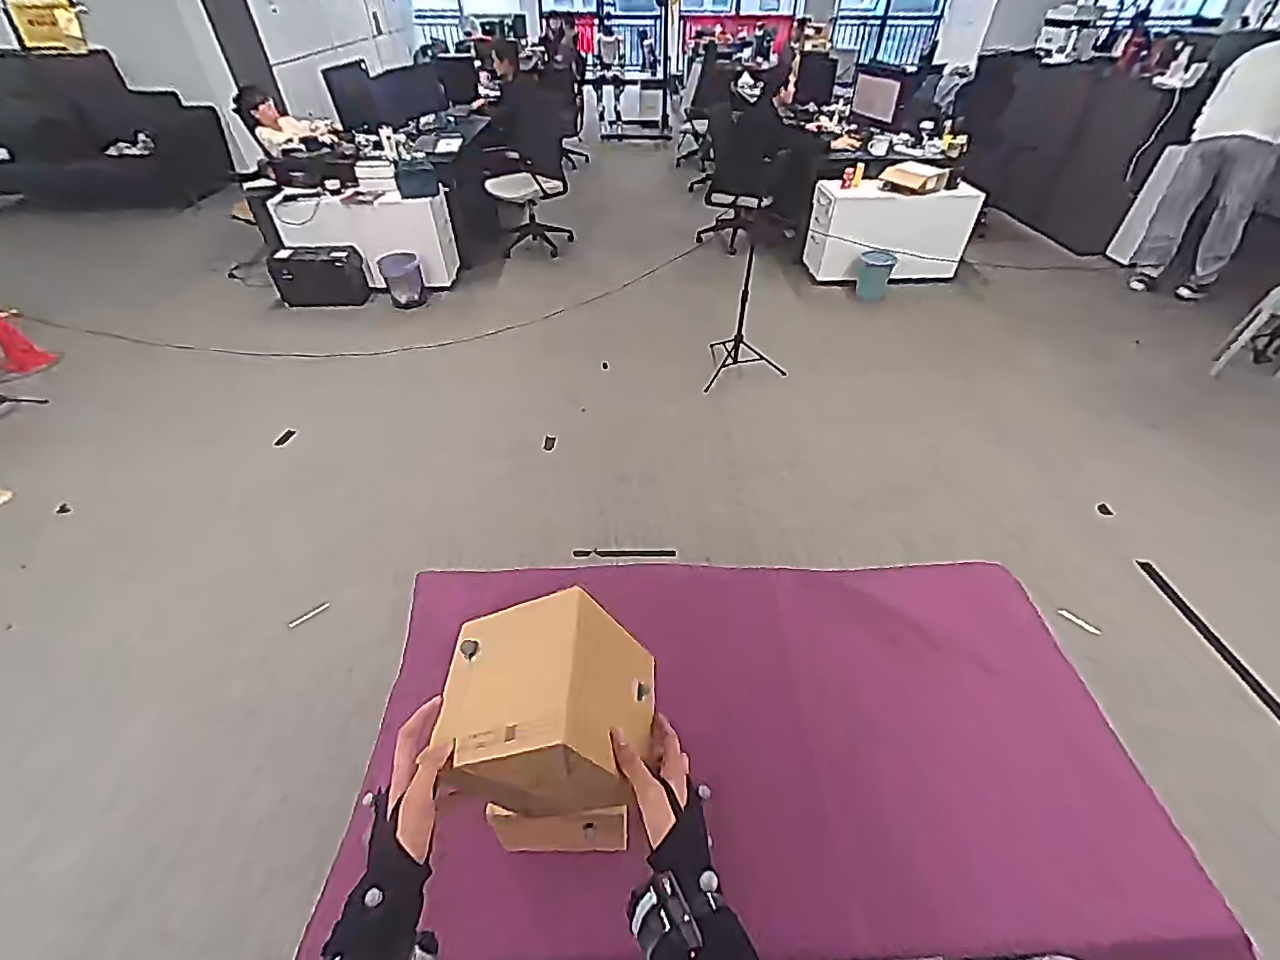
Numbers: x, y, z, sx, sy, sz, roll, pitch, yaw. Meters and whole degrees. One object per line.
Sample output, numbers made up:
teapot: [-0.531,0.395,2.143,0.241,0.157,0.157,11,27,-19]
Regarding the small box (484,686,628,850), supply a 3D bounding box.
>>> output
small box: [-0.108,0.416,0.781,0.179,0.176,0.168,1,43,0]
